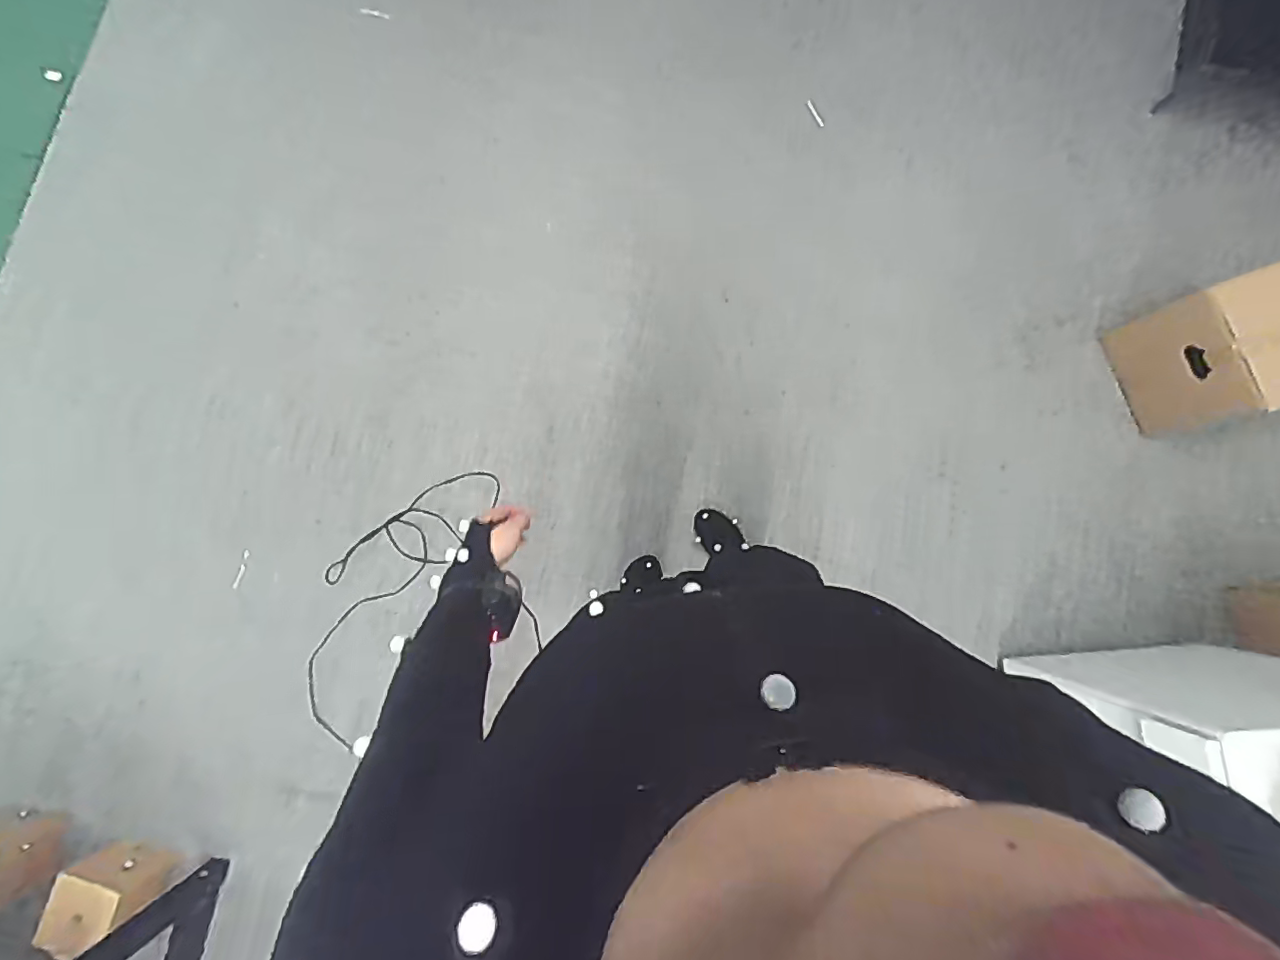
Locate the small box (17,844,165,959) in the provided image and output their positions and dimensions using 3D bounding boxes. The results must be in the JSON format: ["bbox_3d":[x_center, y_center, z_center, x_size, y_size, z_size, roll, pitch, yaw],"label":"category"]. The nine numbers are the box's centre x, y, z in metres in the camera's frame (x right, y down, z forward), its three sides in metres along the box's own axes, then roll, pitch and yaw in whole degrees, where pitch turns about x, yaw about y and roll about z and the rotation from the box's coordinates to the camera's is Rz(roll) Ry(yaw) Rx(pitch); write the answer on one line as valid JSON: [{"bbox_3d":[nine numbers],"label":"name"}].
[{"bbox_3d":[-1.341,1.049,1.338,0.168,0.176,0.179,17,84,2],"label":"small box"}]
